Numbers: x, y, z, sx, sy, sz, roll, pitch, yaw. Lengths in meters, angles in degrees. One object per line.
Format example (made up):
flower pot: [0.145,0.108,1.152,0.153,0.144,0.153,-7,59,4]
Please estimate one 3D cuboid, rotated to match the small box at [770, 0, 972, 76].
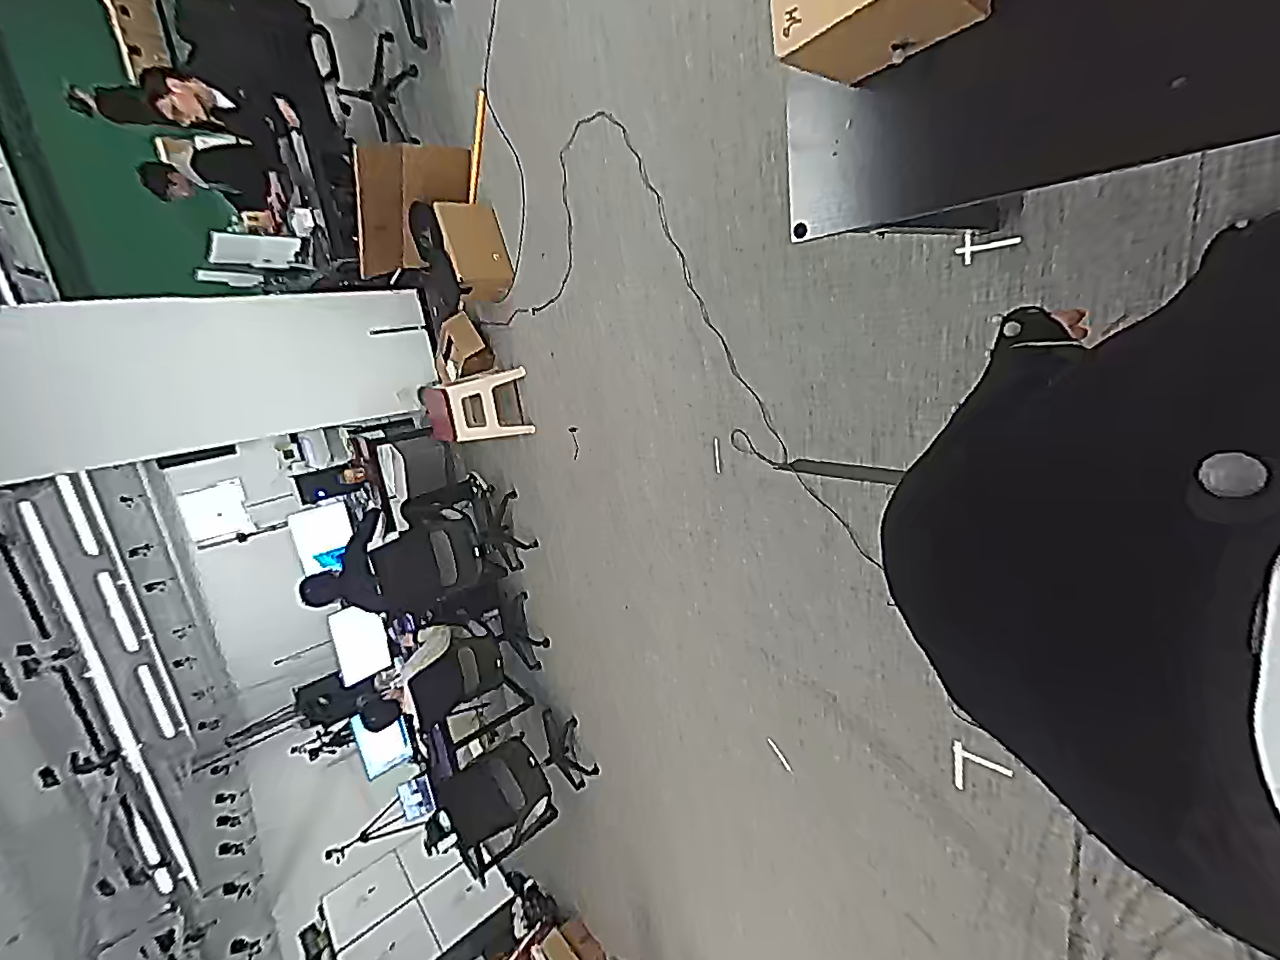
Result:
small box: [0.260,-0.588,0.596,0.179,0.176,0.168,7,111,48]
